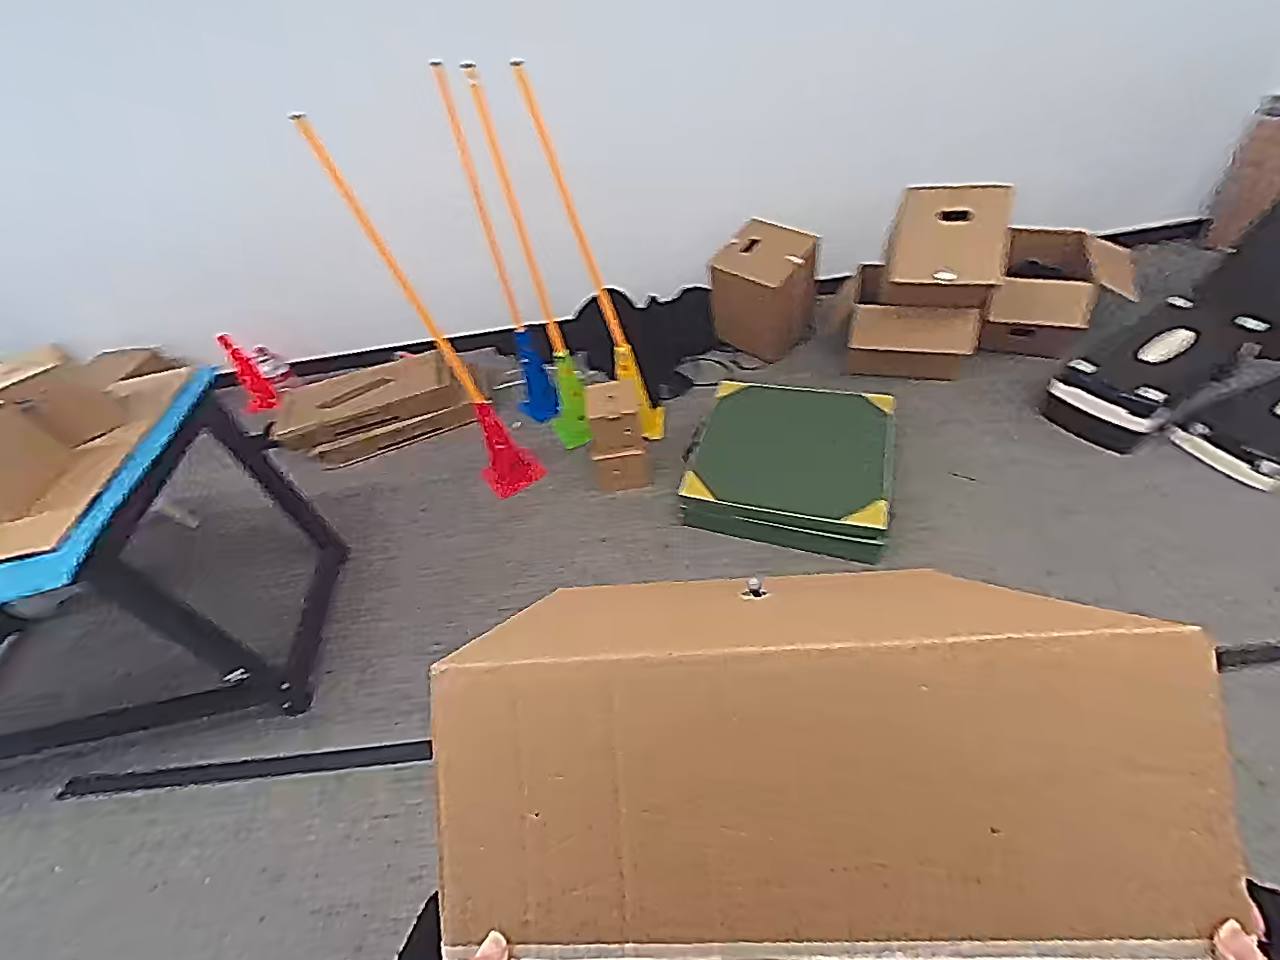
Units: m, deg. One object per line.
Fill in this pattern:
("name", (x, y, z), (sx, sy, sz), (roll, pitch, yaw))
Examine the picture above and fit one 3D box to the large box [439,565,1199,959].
("large box", (0.105, 0.257, 0.443), (0.408, 0.320, 0.320), (-5, 86, 4))
